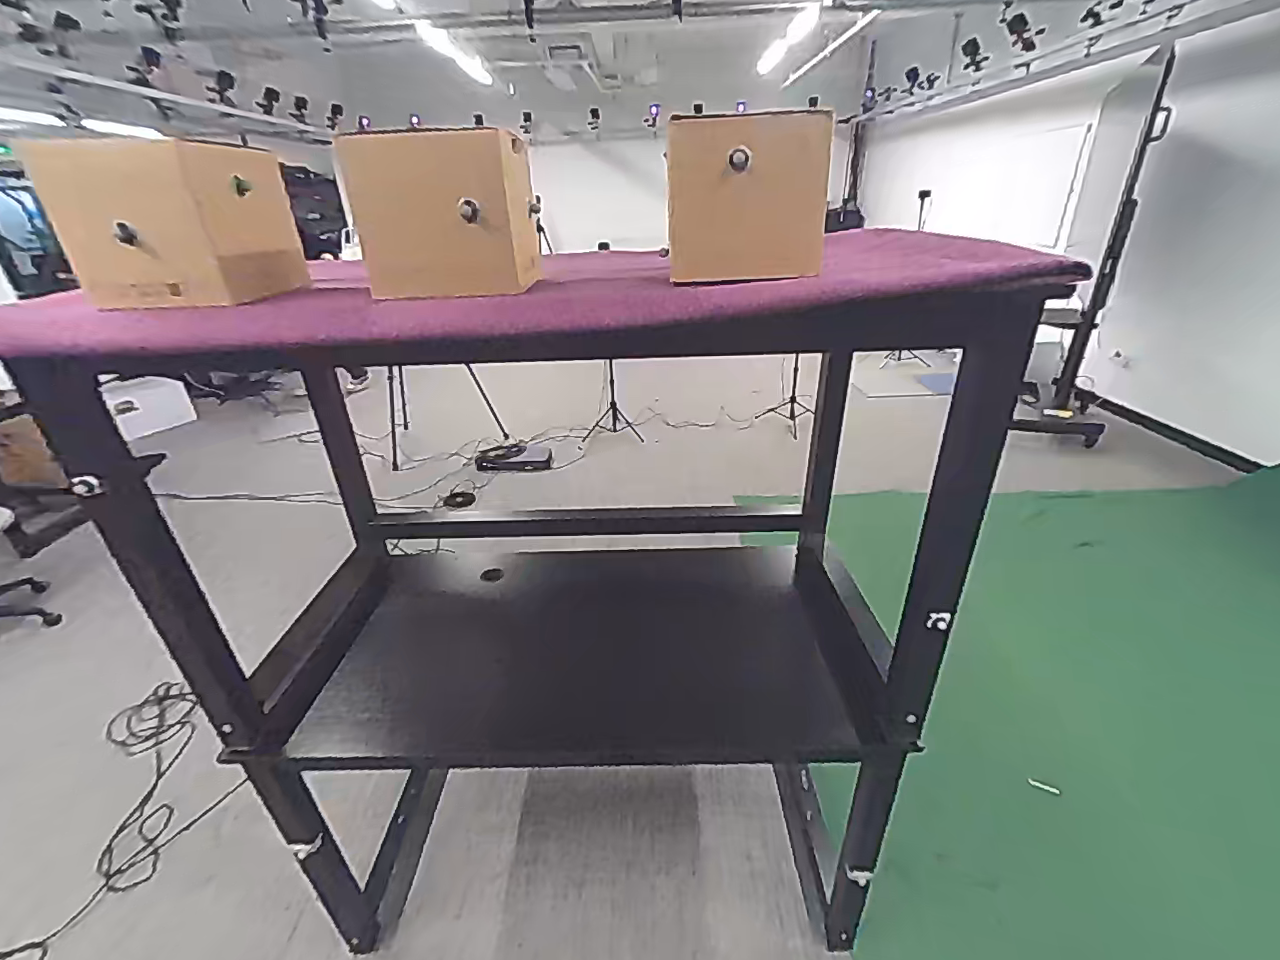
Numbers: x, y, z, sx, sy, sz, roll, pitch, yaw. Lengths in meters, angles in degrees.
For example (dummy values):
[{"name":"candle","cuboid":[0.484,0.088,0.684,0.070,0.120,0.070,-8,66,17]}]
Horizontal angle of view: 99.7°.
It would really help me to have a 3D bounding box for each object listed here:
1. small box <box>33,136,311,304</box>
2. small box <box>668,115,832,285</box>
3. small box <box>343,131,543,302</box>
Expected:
[{"name":"small box","cuboid":[-0.543,-0.315,0.665,0.168,0.176,0.179,0,27,-1]},{"name":"small box","cuboid":[0.126,-0.342,0.684,0.179,0.176,0.168,-1,25,2]},{"name":"small box","cuboid":[-0.222,-0.322,0.669,0.179,0.176,0.168,-2,26,0]}]
